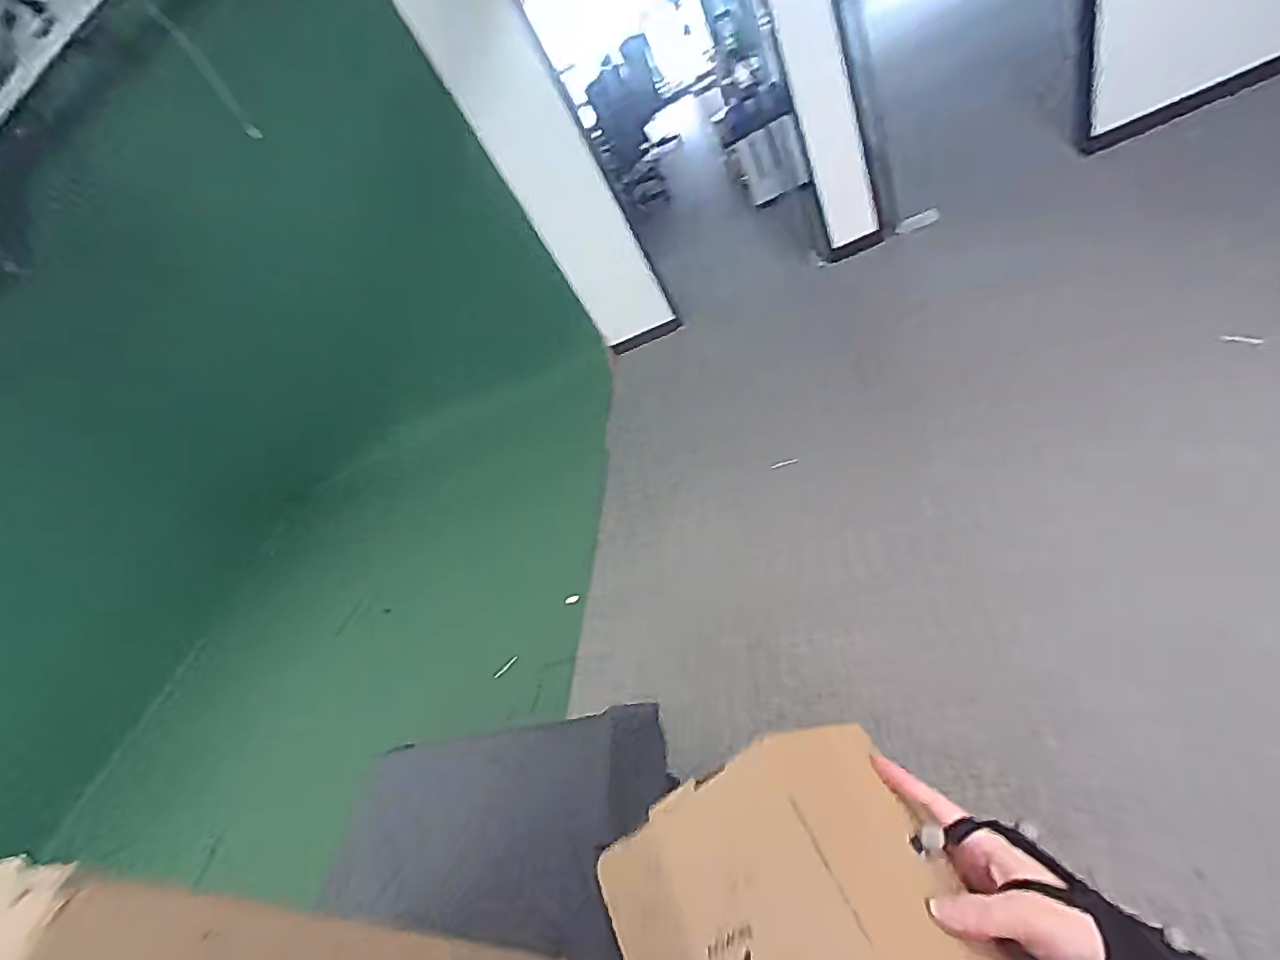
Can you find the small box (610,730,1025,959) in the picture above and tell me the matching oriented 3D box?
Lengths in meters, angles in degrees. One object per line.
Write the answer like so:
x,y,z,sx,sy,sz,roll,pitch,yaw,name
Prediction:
0.116,0.293,0.367,0.168,0.176,0.179,-48,49,19,small box
